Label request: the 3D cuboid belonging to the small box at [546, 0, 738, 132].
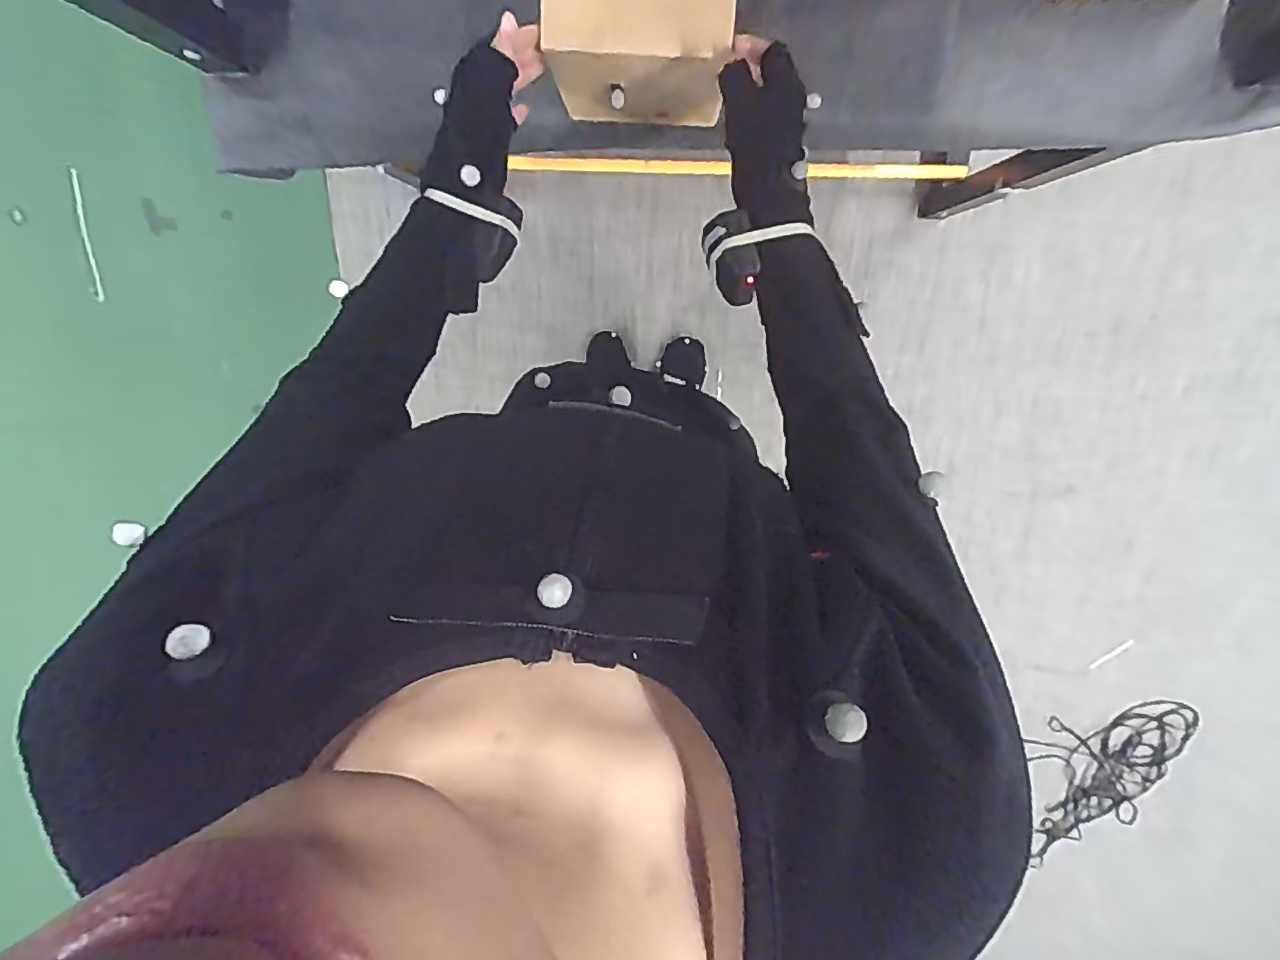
[{"bbox_3d":[0.009,-0.462,0.523,0.168,0.176,0.179,4,105,1],"label":"small box"}]
